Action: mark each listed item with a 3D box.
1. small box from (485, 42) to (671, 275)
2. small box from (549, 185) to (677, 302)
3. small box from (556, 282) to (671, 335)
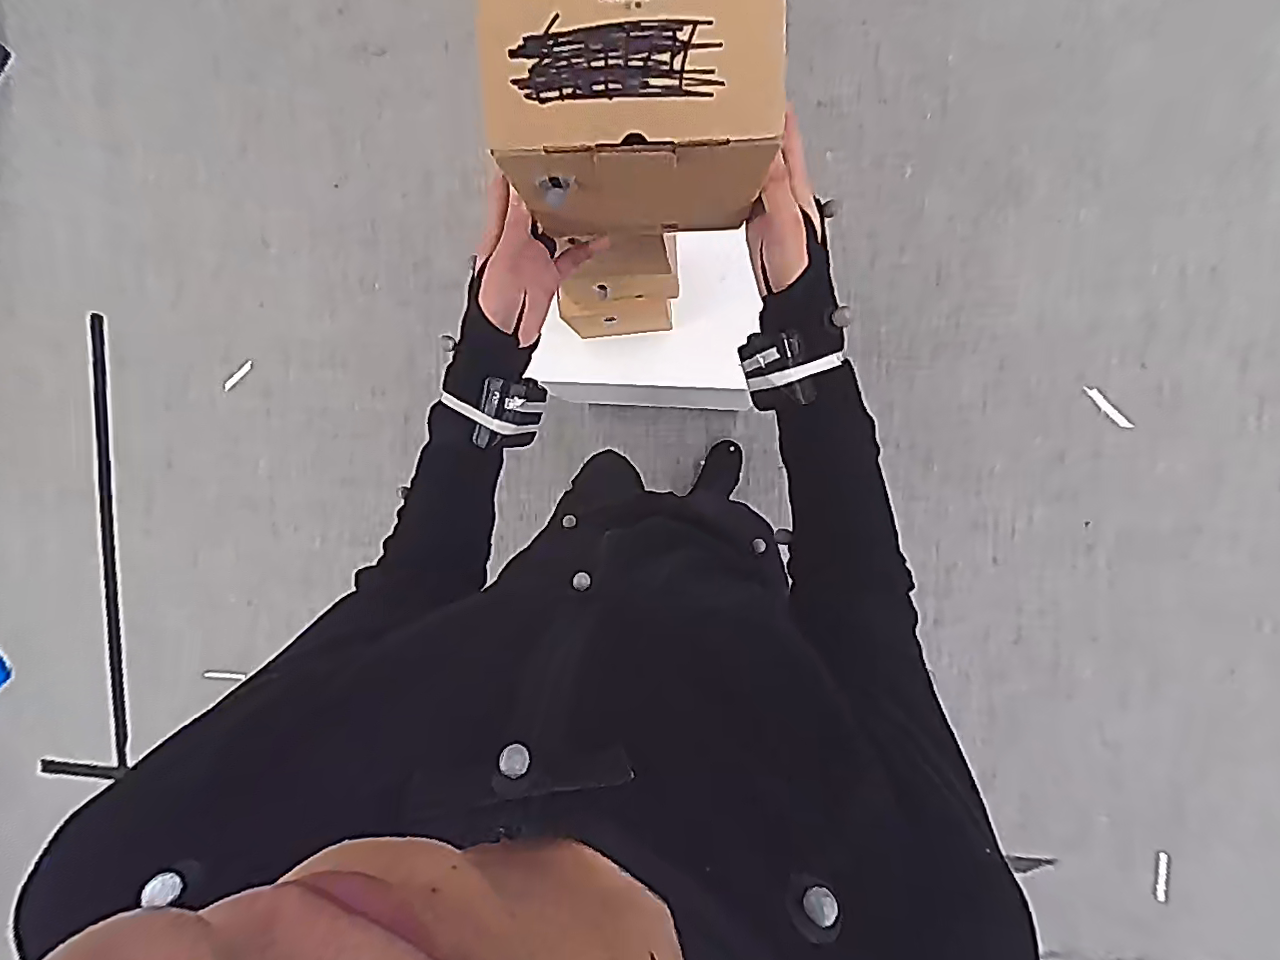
[{"bbox_3d":[-0.058,-0.340,0.610,0.179,0.176,0.168,-1,93,7],"label":"small box"},{"bbox_3d":[-0.036,-0.362,0.772,0.168,0.176,0.179,-3,92,7],"label":"small box"},{"bbox_3d":[-0.042,-0.355,0.937,0.179,0.176,0.168,-4,93,6],"label":"small box"}]
